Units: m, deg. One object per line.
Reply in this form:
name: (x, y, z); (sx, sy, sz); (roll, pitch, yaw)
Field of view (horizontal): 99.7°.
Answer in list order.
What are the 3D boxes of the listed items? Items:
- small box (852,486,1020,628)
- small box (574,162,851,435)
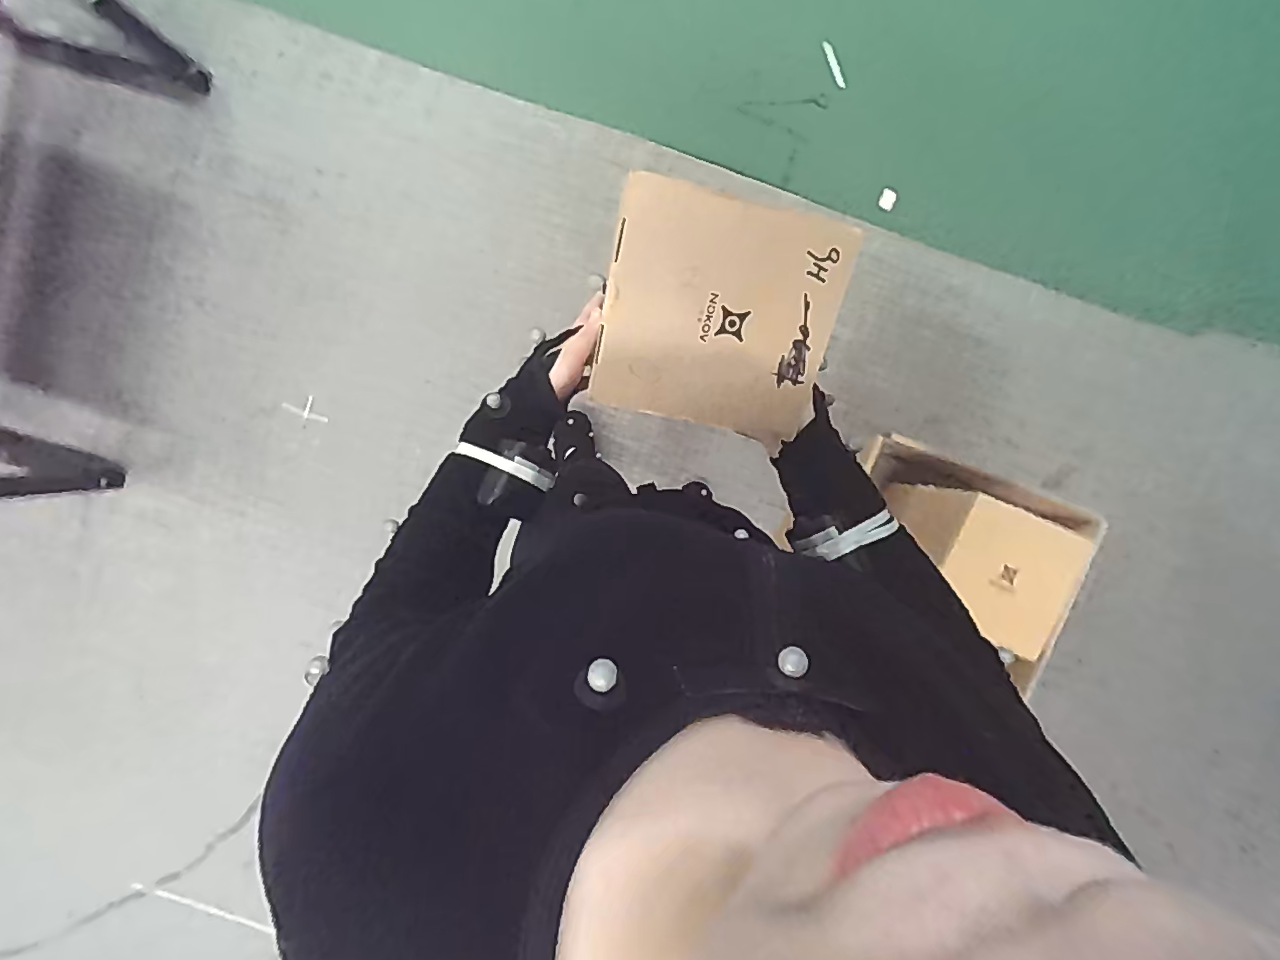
small box: (0.495, 0.121, 0.935); (0.168, 0.176, 0.179); (23, 95, 1)
small box: (0.046, -0.156, 0.477); (0.179, 0.176, 0.168); (11, 112, -8)
